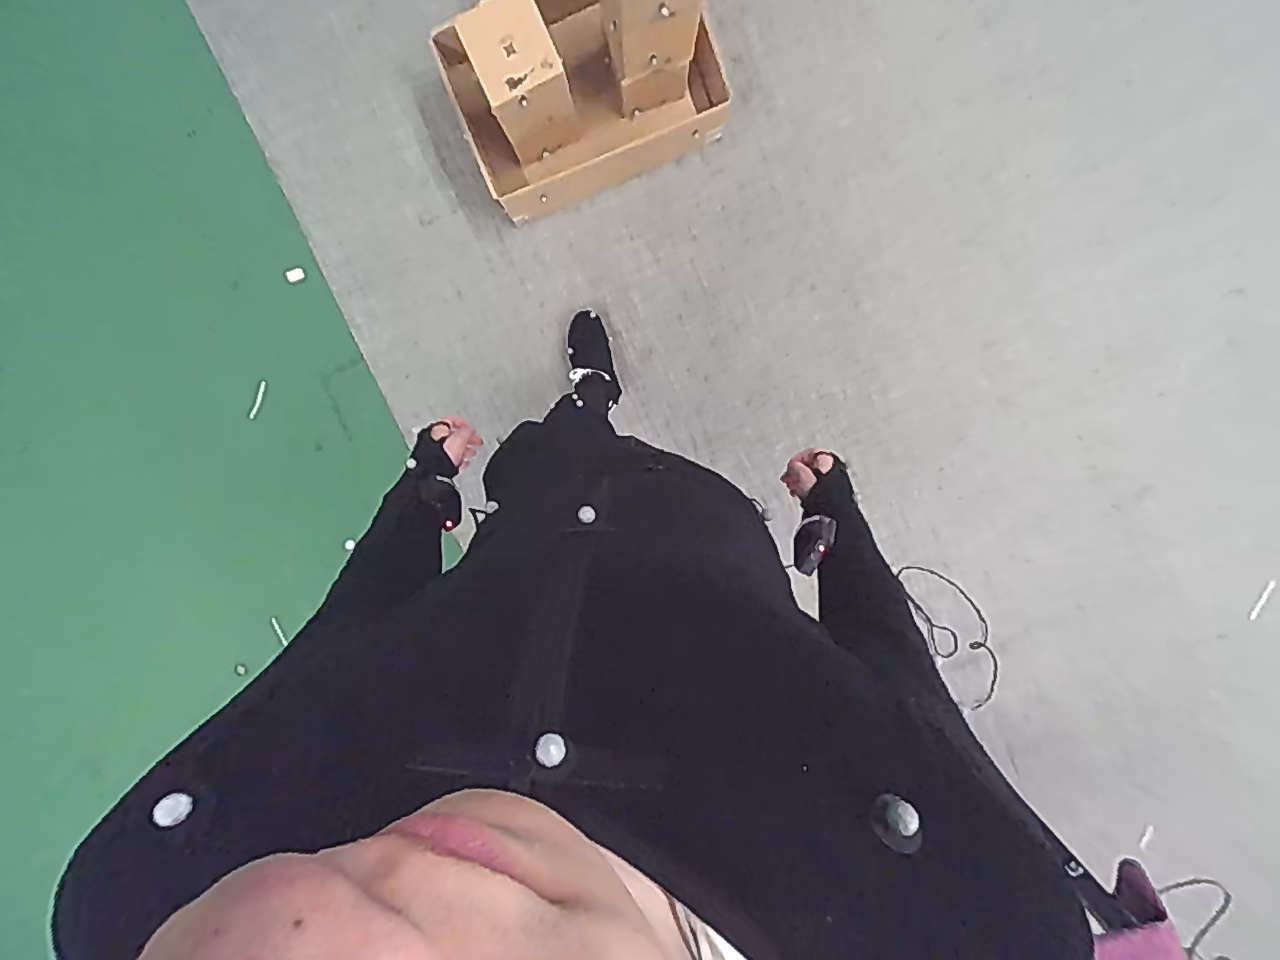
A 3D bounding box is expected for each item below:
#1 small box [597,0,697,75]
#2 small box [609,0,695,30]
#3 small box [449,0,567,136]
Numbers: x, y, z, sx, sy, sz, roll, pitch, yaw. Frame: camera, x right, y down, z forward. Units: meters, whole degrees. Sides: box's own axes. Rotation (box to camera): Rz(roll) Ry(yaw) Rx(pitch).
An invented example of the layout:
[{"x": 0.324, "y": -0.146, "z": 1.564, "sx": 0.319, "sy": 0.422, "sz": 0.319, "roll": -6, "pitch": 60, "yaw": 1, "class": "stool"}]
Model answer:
[{"x": 0.006, "y": -0.998, "z": 1.121, "sx": 0.168, "sy": 0.176, "sz": 0.179, "roll": -18, "pitch": 102, "yaw": 2, "class": "small box"}, {"x": 0.010, "y": -0.963, "z": 0.960, "sx": 0.168, "sy": 0.176, "sz": 0.179, "roll": -17, "pitch": 102, "yaw": 3, "class": "small box"}, {"x": -0.268, "y": -0.877, "z": 1.139, "sx": 0.168, "sy": 0.176, "sz": 0.179, "roll": -24, "pitch": 100, "yaw": 5, "class": "small box"}]
